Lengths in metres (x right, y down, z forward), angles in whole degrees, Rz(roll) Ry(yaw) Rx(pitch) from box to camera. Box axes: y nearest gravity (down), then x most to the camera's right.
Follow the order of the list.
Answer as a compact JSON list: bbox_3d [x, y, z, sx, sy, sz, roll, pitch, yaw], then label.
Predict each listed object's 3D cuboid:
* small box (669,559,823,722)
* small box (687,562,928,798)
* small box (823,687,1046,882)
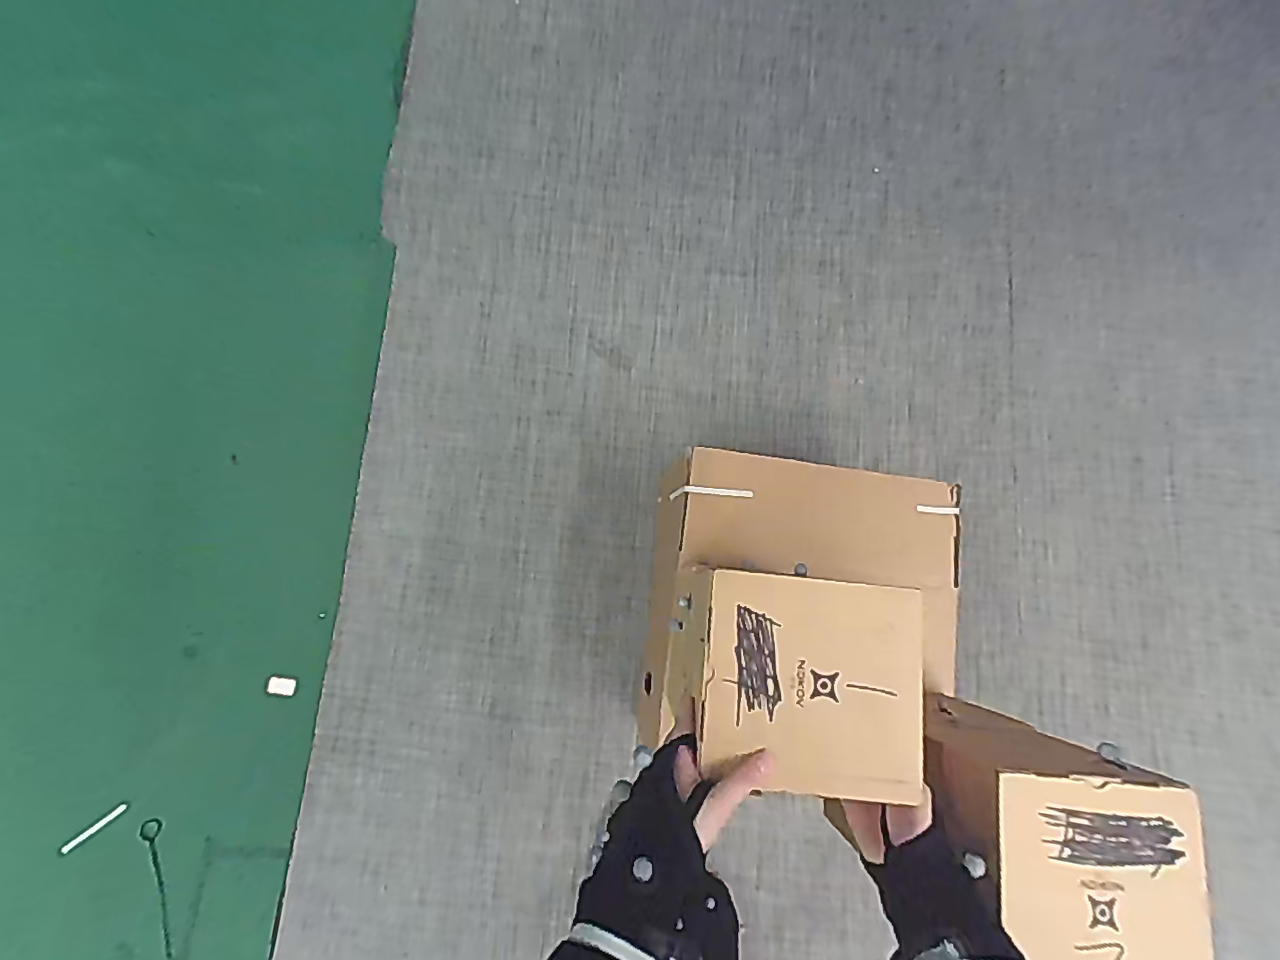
[{"bbox_3d":[0.129,0.198,0.671,0.168,0.176,0.179,6,78,-1],"label":"small box"},{"bbox_3d":[0.140,0.171,0.506,0.179,0.176,0.168,5,79,0],"label":"small box"},{"bbox_3d":[0.341,0.347,0.654,0.179,0.176,0.168,5,79,-2],"label":"small box"}]
